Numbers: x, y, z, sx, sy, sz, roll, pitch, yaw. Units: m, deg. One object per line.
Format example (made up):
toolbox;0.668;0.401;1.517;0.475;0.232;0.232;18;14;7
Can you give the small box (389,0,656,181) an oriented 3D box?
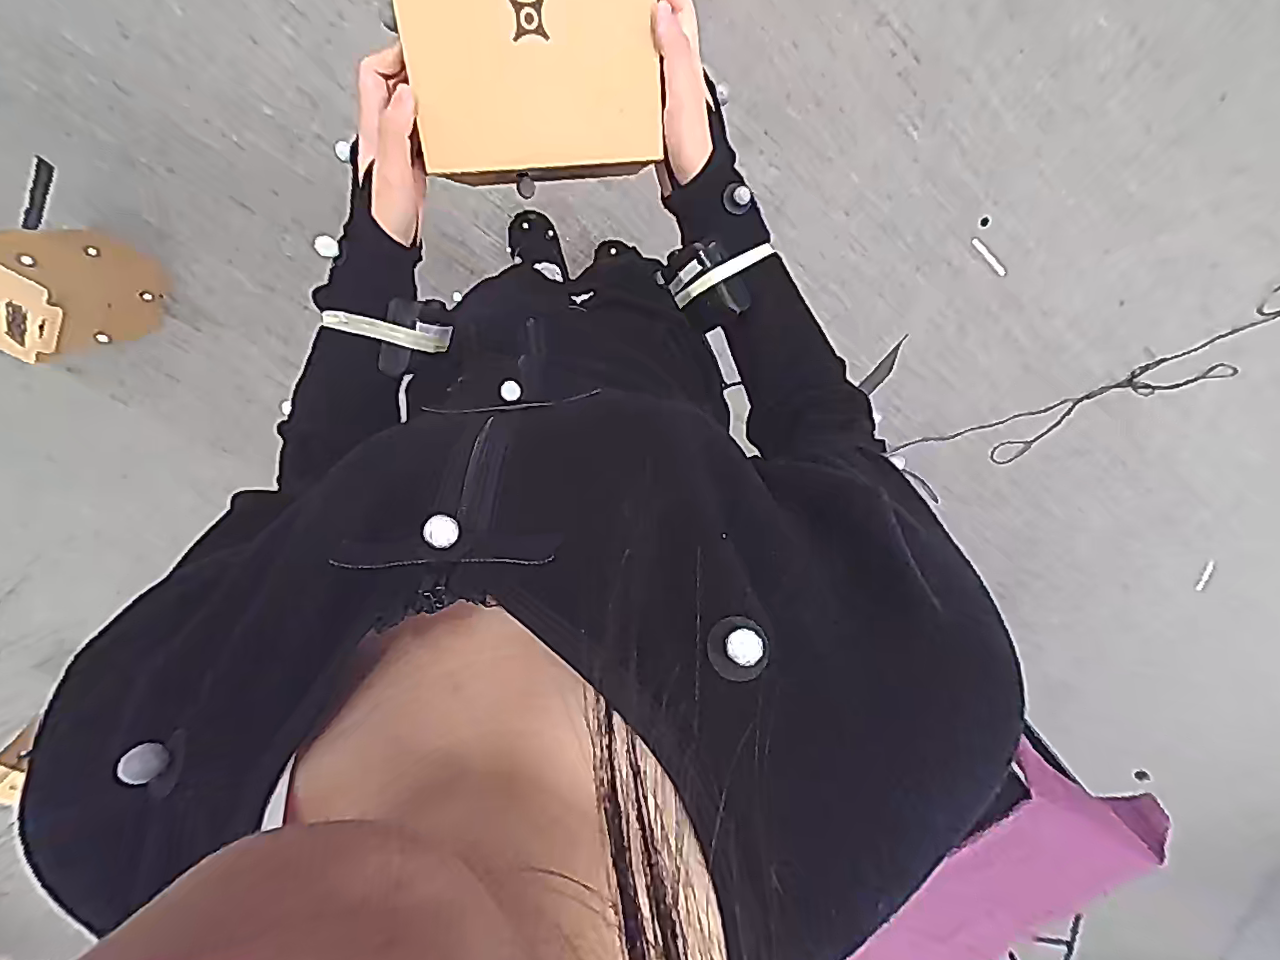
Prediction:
small box;-0.080;-0.331;0.409;0.168;0.176;0.179;-6;115;-4

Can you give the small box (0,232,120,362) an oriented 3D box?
small box;-1.175;-0.361;1.046;0.179;0.176;0.168;29;110;-18

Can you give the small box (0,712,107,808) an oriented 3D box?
small box;-1.752;0.817;1.592;0.179;0.176;0.168;36;109;-22

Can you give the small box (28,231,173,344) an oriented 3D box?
small box;-1.192;-0.432;1.194;0.179;0.176;0.168;28;110;-17
